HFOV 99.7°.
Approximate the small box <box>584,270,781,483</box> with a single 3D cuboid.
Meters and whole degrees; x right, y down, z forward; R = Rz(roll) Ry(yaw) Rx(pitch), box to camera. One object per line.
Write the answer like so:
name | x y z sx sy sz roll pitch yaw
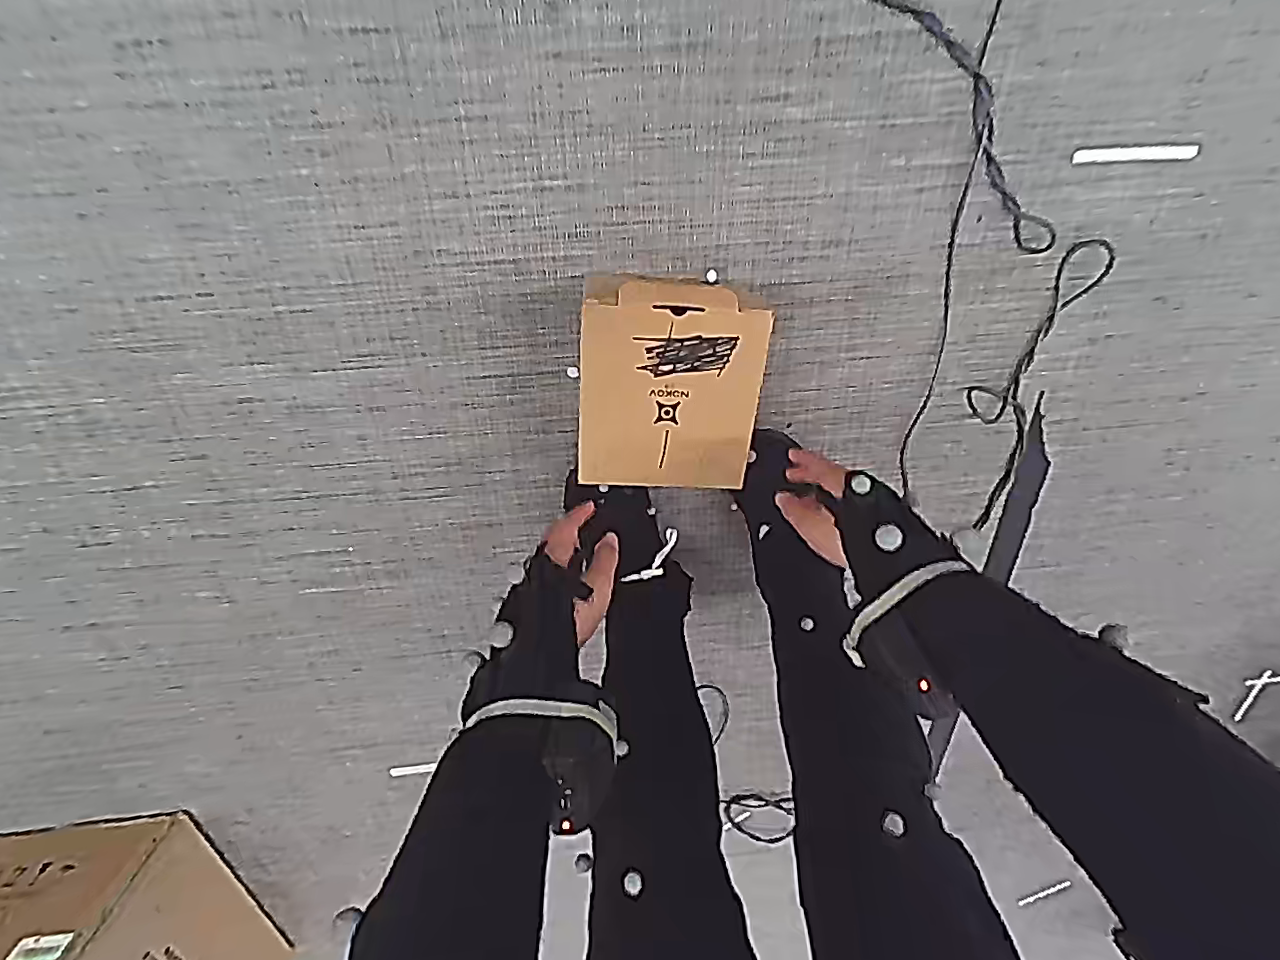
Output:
small box | 0.028 -0.114 0.561 0.168 0.176 0.179 2 118 -5
